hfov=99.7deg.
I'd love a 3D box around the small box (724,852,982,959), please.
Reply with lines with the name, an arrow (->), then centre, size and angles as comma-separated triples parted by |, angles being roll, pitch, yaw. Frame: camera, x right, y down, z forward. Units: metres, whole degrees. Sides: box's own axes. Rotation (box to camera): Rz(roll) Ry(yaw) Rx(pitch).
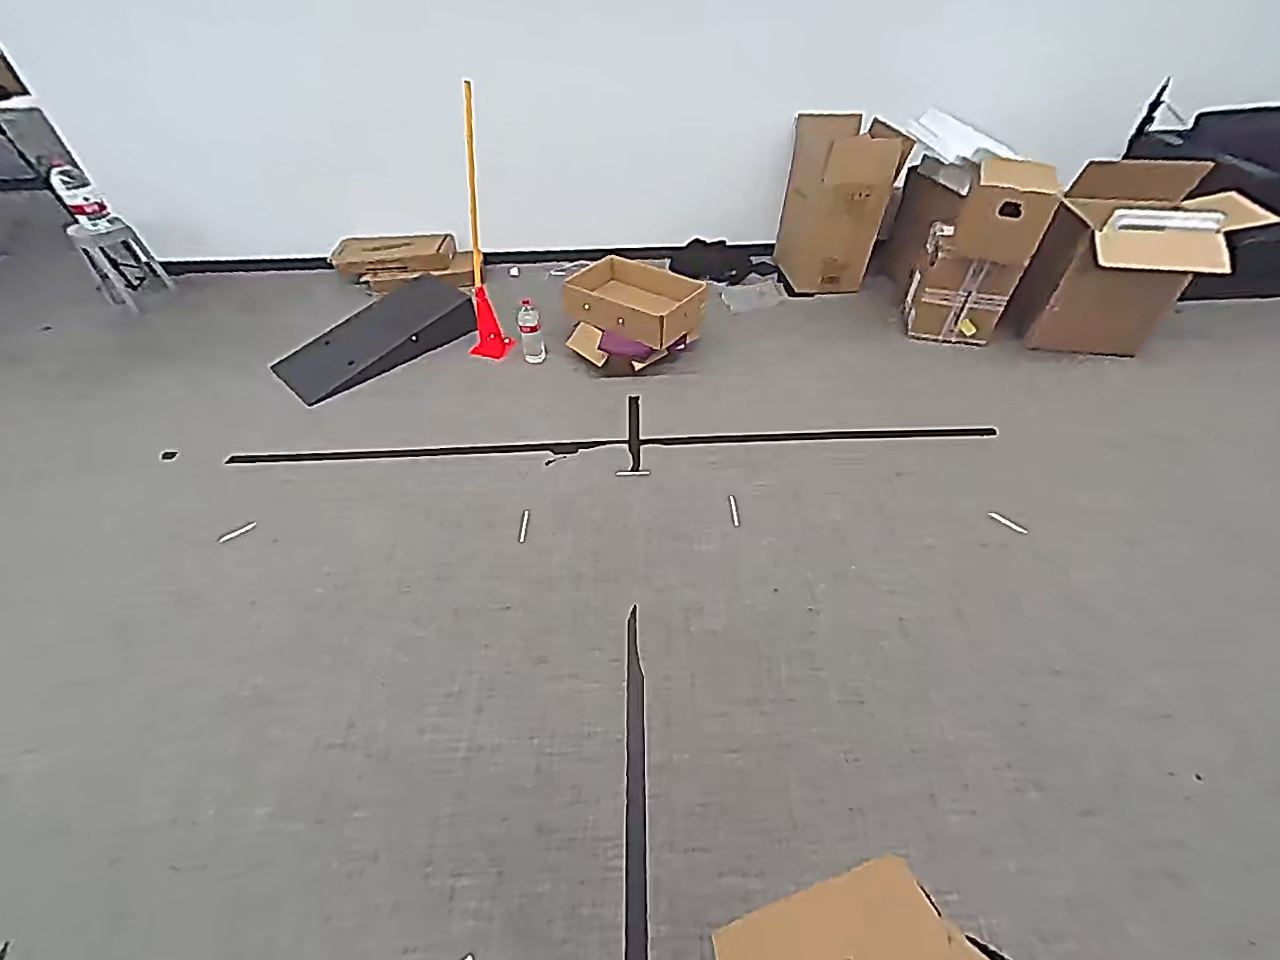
small box -> 0.183, 0.435, 0.395 | 0.179, 0.176, 0.168 | -22, 6, -1
